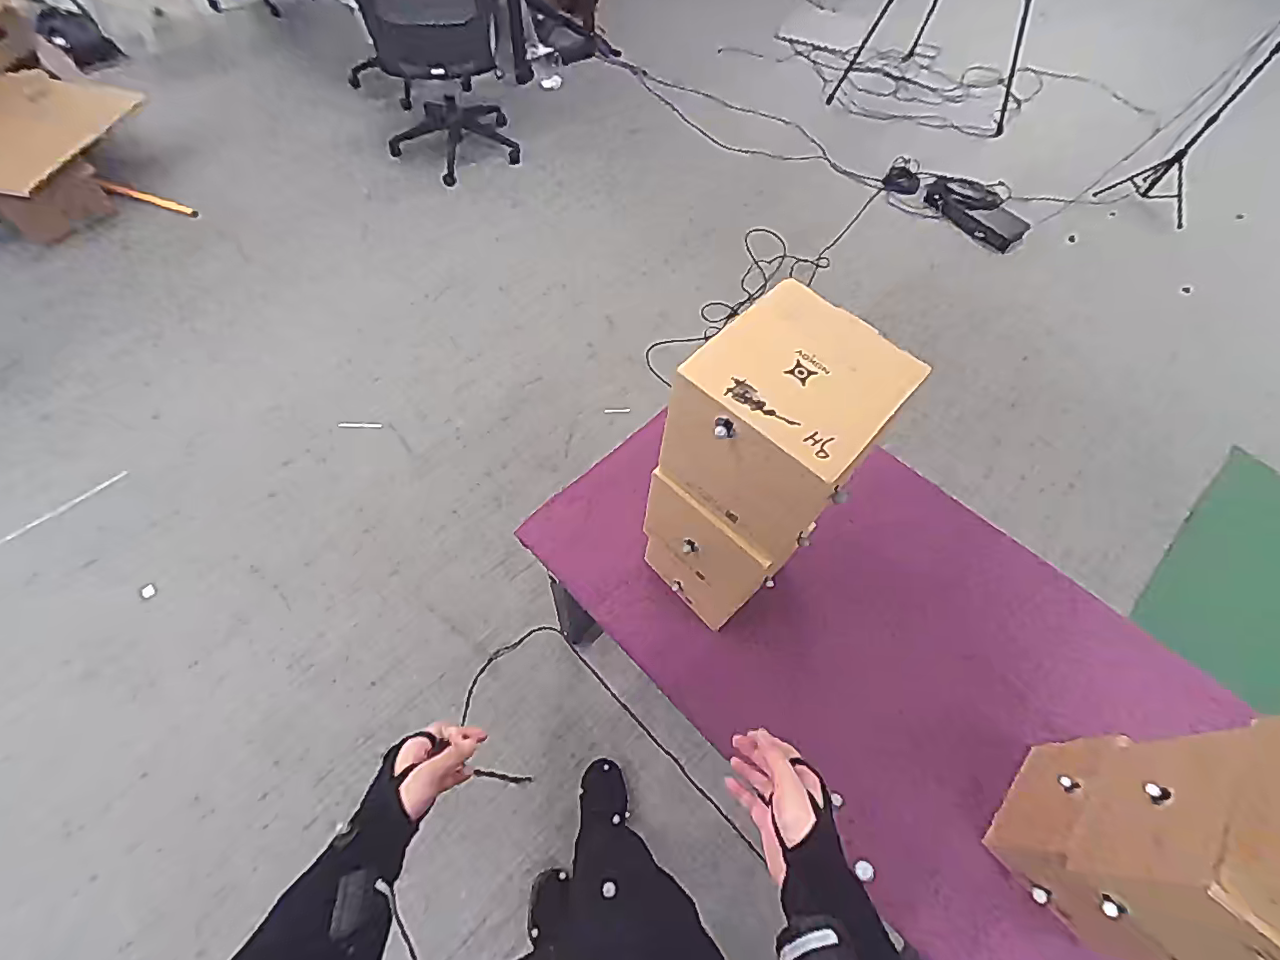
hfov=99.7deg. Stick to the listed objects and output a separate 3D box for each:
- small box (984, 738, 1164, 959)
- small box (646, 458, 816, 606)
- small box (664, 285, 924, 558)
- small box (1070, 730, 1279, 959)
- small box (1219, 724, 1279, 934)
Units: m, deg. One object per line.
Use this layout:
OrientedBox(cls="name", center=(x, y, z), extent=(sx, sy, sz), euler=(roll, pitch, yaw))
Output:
OrientedBox(cls="small box", center=(0.577, 0.455, 0.671), extent=(0.179, 0.176, 0.168), euler=(-38, 68, -23))
OrientedBox(cls="small box", center=(0.122, 0.032, 0.691), extent=(0.168, 0.176, 0.179), euler=(41, 66, 18))
OrientedBox(cls="small box", center=(0.139, -0.055, 0.551), extent=(0.168, 0.176, 0.179), euler=(39, 65, 19))
OrientedBox(cls="small box", center=(0.573, 0.381, 0.524), extent=(0.168, 0.176, 0.179), euler=(41, 63, 19))
OrientedBox(cls="small box", center=(0.591, 0.292, 0.389), extent=(0.168, 0.176, 0.179), euler=(39, 62, 19))
